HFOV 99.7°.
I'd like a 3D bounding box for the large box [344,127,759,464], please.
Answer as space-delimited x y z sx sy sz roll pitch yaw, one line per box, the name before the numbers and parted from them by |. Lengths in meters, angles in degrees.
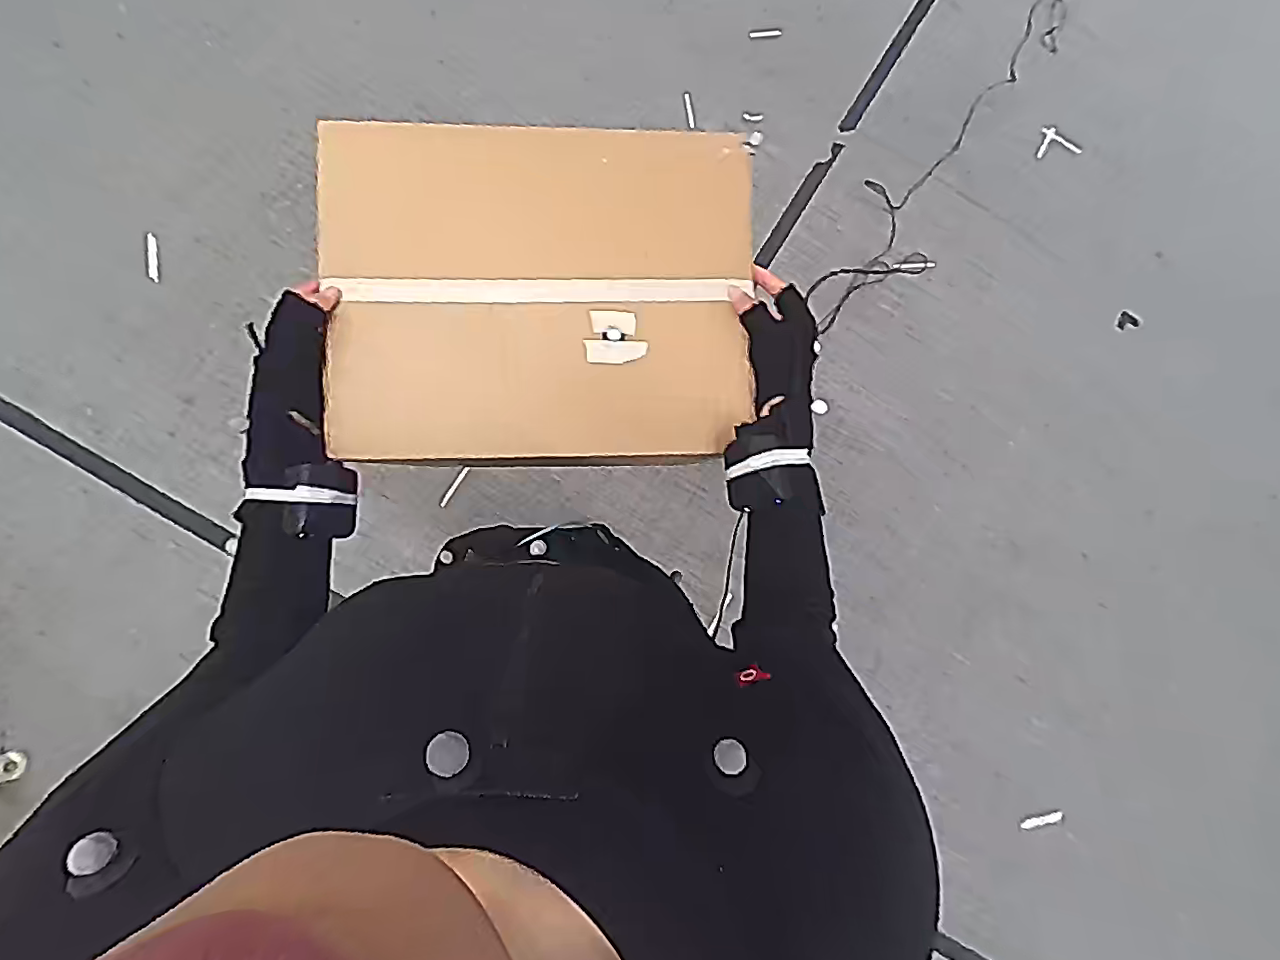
large box | -0.095 -0.182 0.674 0.408 0.320 0.320 0 91 -5
